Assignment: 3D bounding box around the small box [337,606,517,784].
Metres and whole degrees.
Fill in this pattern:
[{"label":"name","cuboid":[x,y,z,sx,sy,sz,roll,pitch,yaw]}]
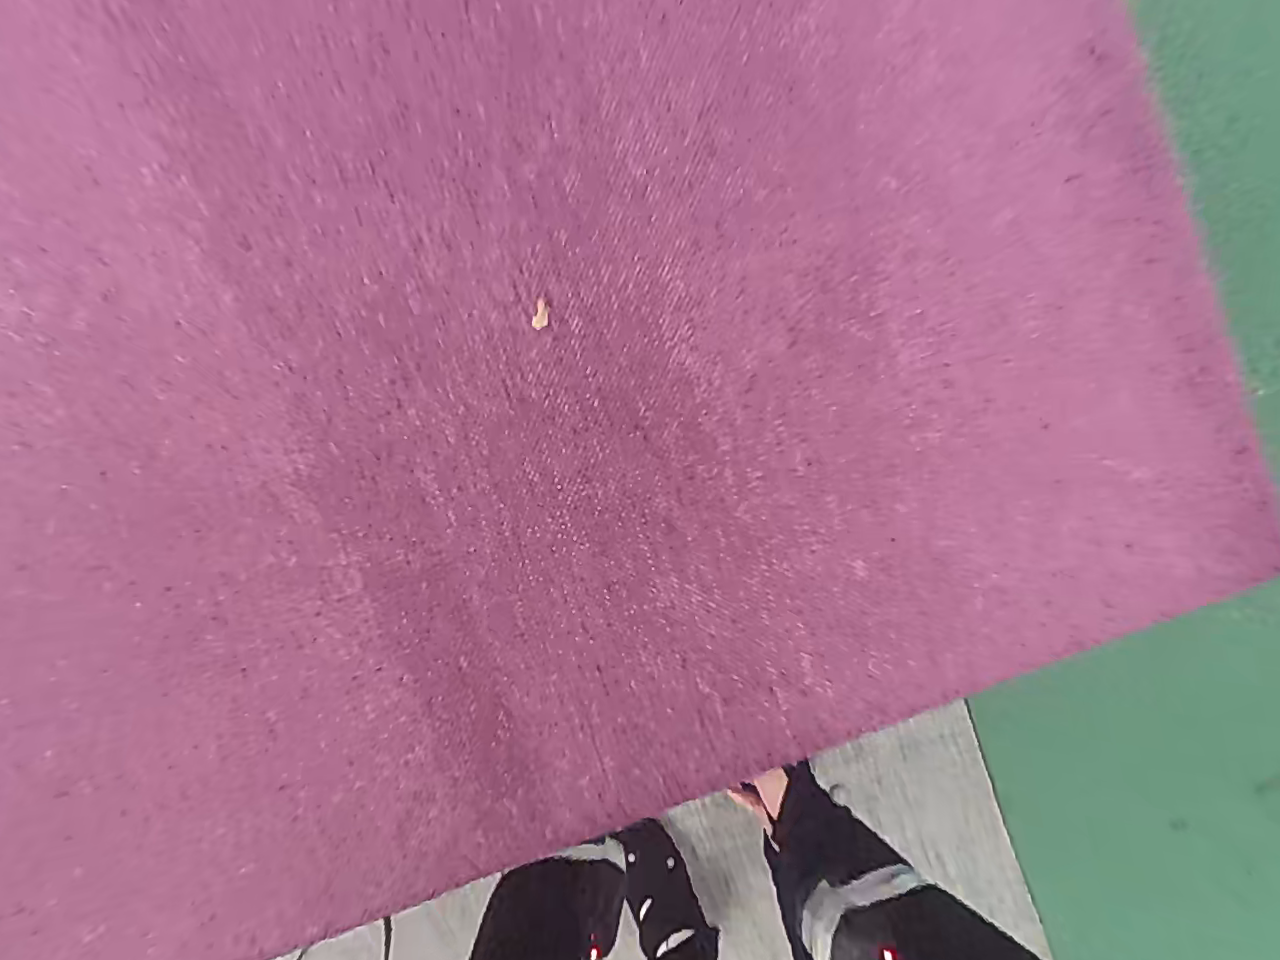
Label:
[{"label":"small box","cuboid":[-0.315,0.320,0.837,0.179,0.176,0.168,-22,95,3]}]
